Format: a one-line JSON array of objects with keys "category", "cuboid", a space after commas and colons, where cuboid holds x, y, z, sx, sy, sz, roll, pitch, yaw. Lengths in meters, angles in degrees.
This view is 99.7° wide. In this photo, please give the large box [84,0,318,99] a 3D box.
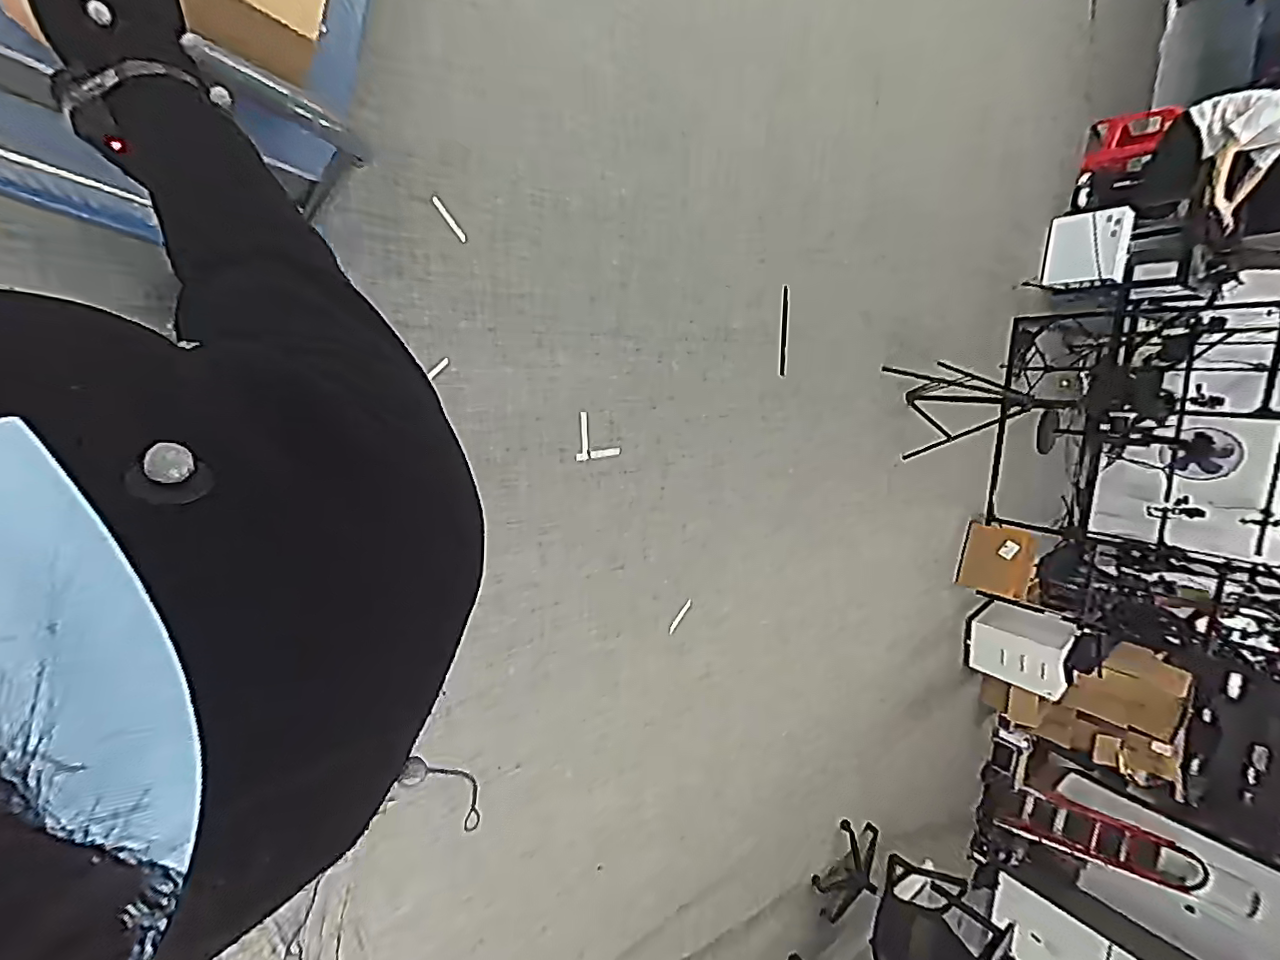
[{"category": "large box", "cuboid": [-0.699, -0.872, 0.793, 0.408, 0.320, 0.320, 12, 92, -39]}]
